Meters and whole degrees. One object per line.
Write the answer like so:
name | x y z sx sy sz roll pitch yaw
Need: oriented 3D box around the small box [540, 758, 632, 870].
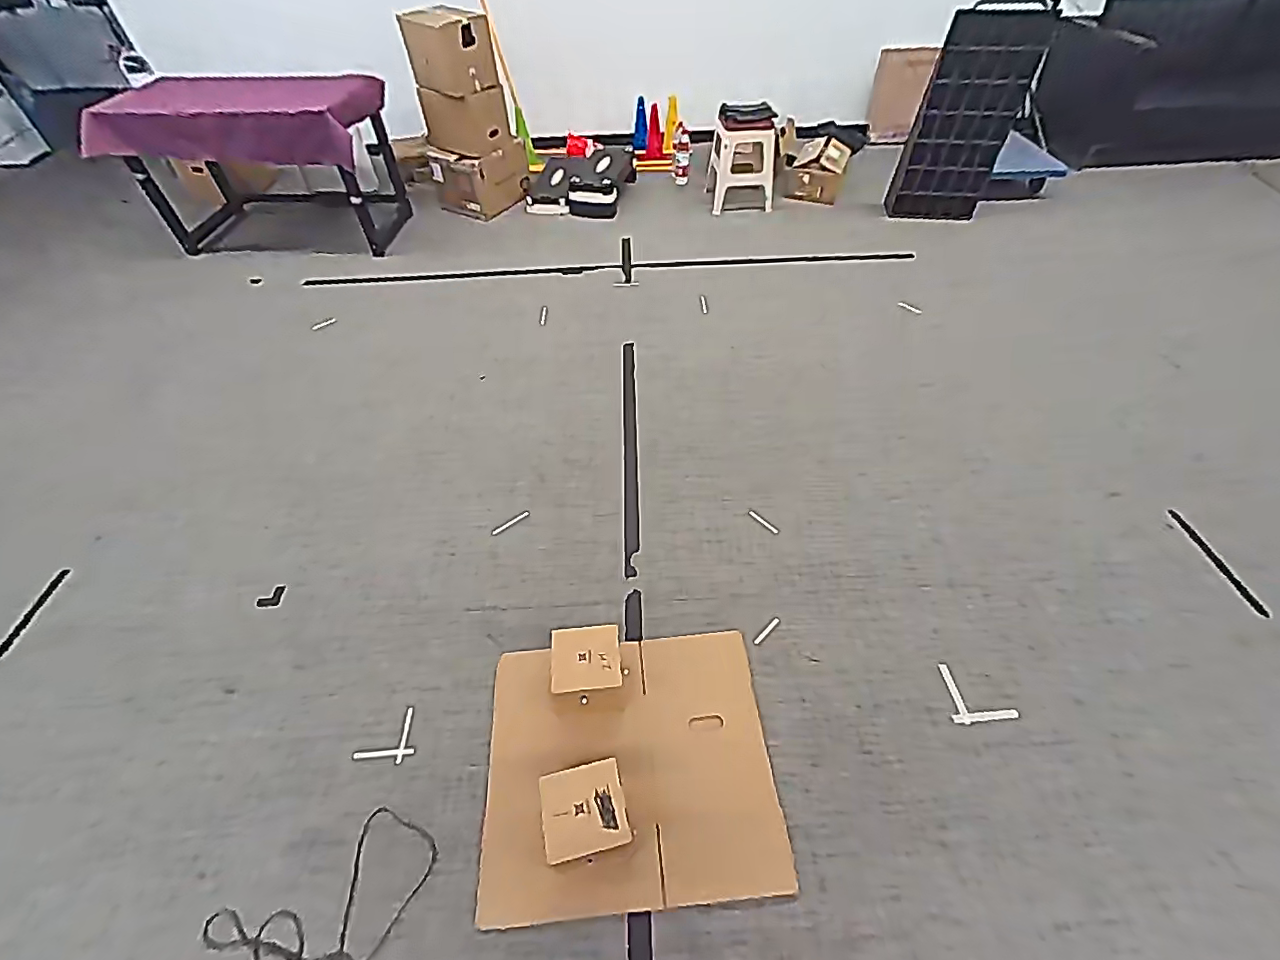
small box | -0.118 0.747 1.207 0.179 0.176 0.168 -11 49 -8

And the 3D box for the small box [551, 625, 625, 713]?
small box | -0.133 0.501 1.423 0.179 0.176 0.168 -4 49 -3
